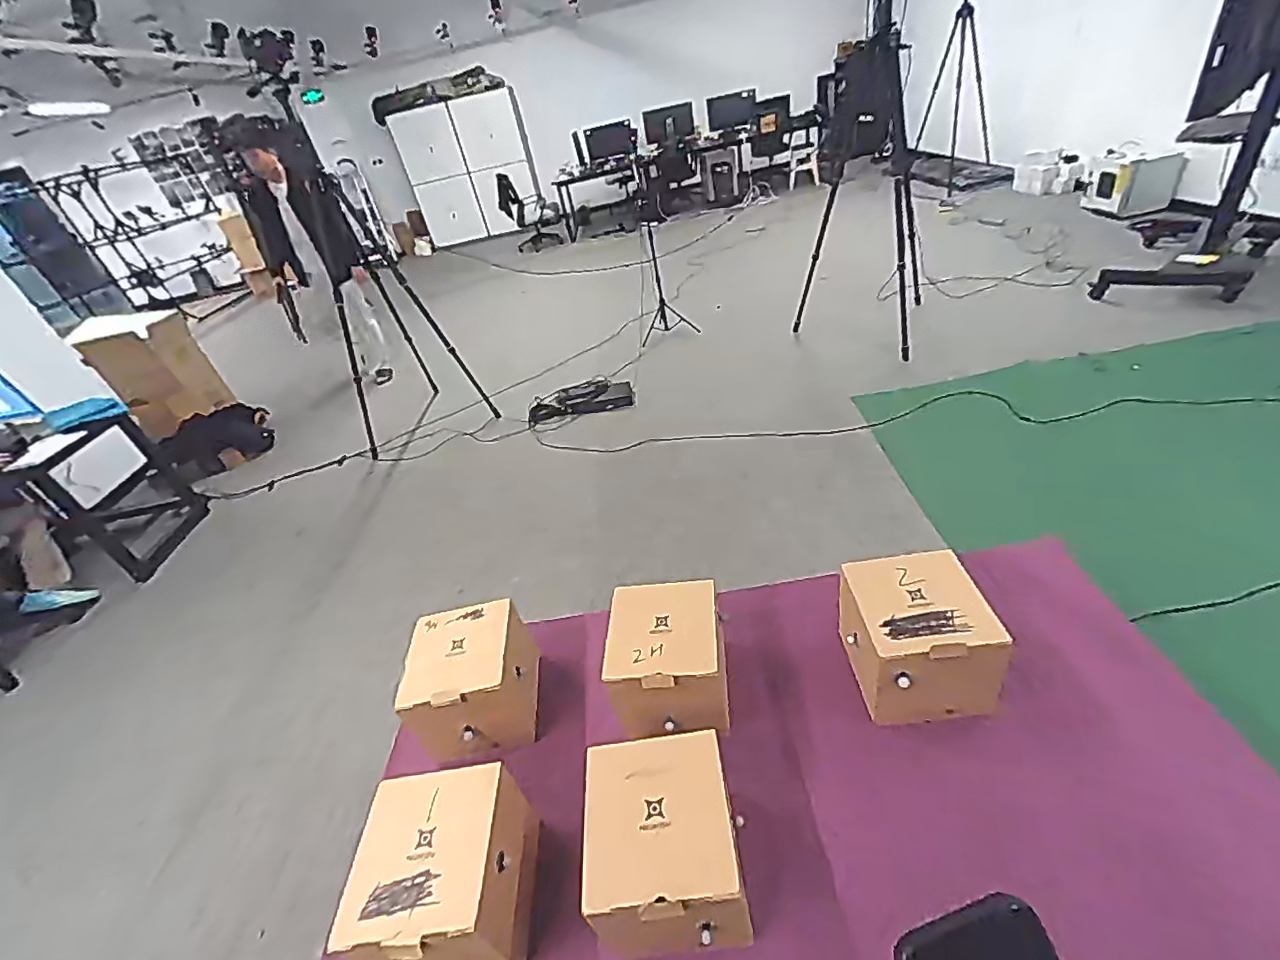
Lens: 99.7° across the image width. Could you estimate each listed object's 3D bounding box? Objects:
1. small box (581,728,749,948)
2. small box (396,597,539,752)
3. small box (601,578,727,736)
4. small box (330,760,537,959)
[{"bbox_3d":[0.032,0.436,0.657,0.168,0.176,0.179,-10,35,5],"label":"small box"},{"bbox_3d":[-0.274,0.330,0.903,0.168,0.176,0.179,-13,37,1],"label":"small box"},{"bbox_3d":[0.046,0.280,0.860,0.168,0.176,0.179,-7,37,11],"label":"small box"},{"bbox_3d":[-0.237,0.488,0.676,0.168,0.176,0.179,-11,34,4],"label":"small box"}]
